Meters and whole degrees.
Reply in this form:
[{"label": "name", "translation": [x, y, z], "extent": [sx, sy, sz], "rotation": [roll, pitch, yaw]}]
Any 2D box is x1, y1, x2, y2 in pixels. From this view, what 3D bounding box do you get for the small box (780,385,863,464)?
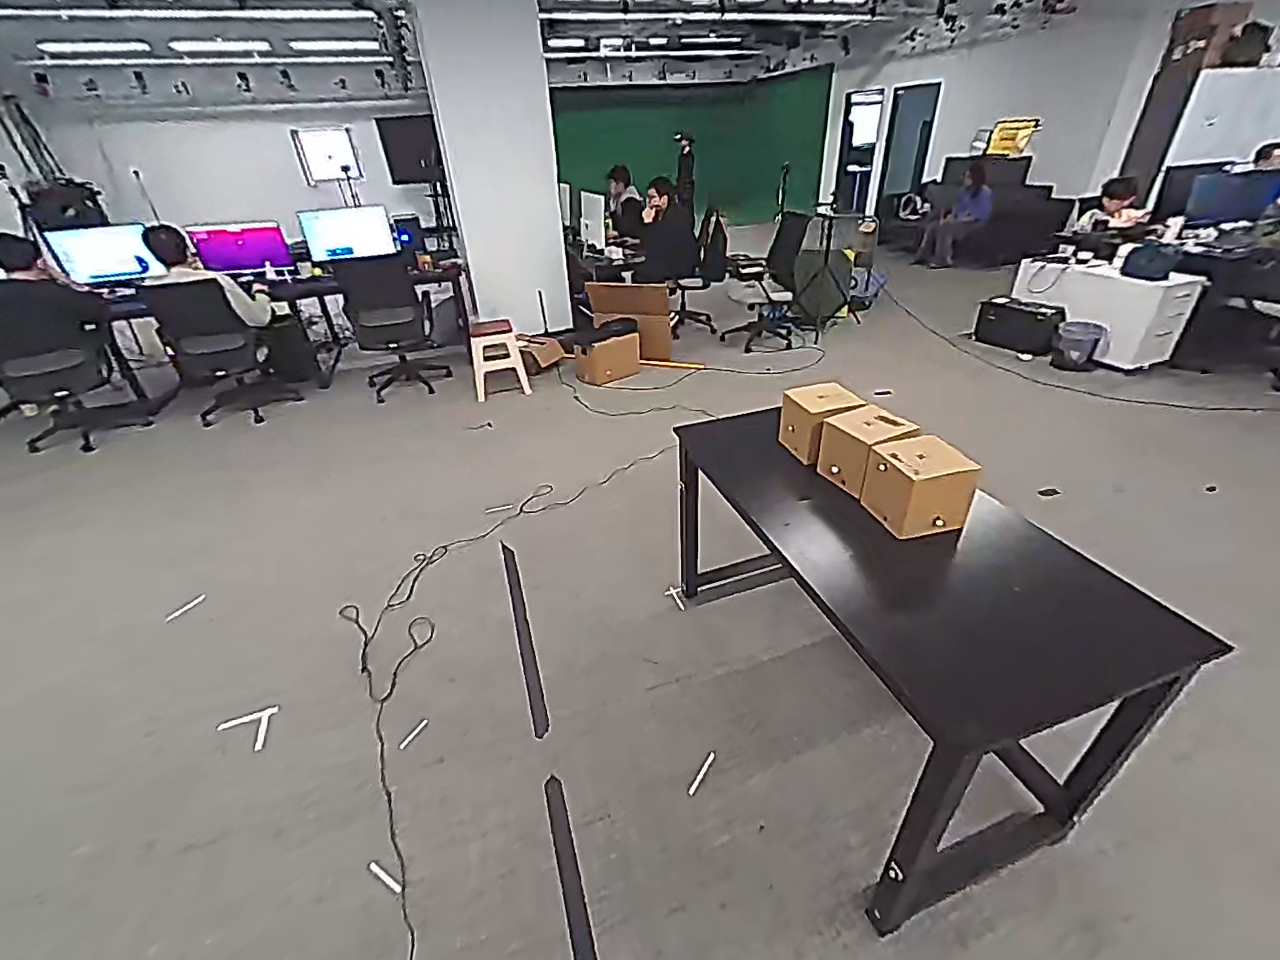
[{"label": "small box", "translation": [0.525, -0.162, 1.595], "extent": [0.179, 0.176, 0.168], "rotation": [-11, 33, -12]}]
